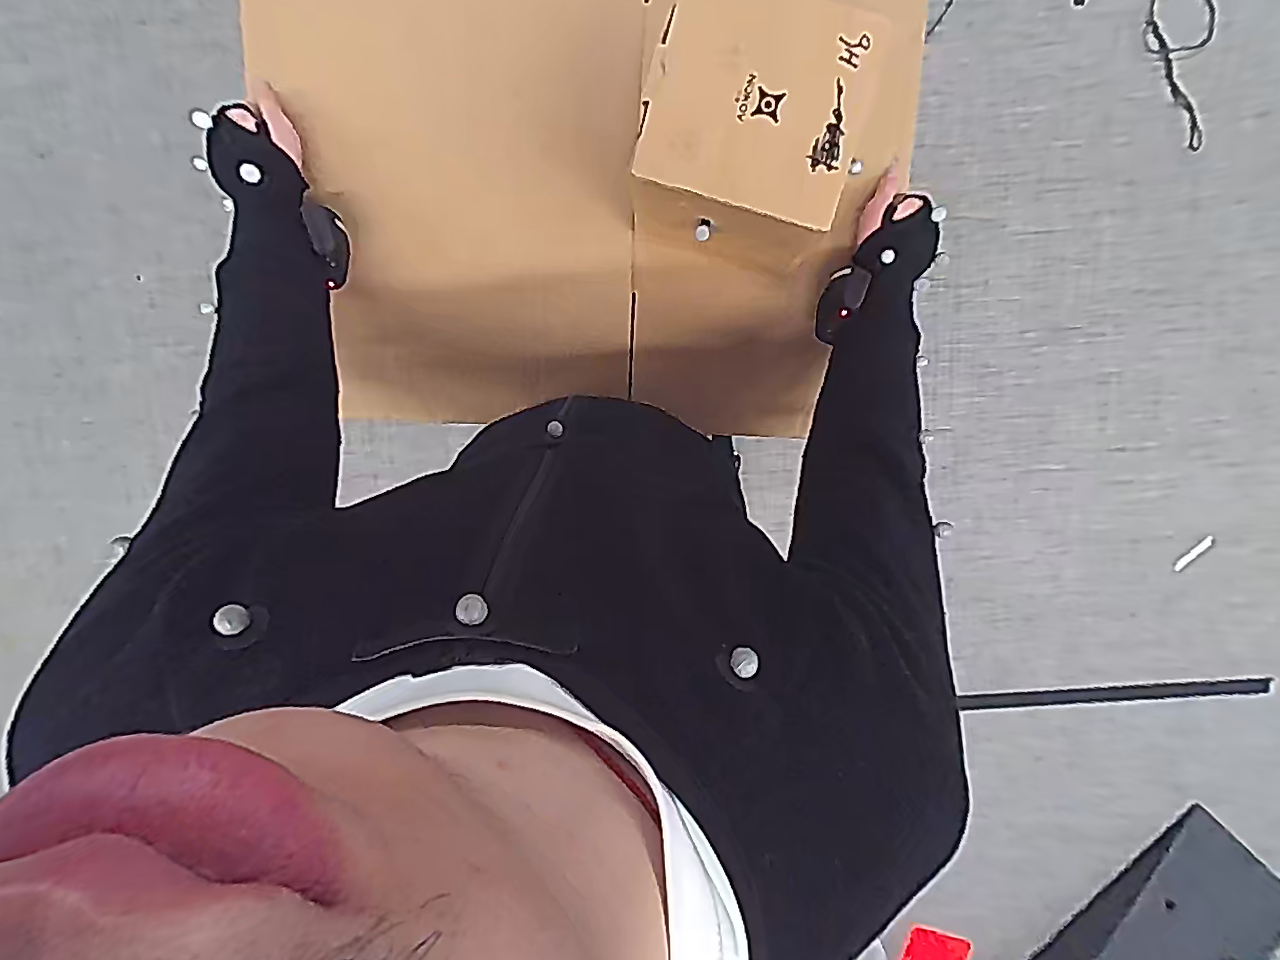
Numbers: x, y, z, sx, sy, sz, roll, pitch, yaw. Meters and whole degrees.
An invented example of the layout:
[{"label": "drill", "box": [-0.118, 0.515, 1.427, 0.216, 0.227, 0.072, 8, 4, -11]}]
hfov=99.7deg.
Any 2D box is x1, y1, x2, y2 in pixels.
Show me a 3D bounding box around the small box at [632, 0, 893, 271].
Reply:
[{"label": "small box", "box": [0.103, -0.322, 0.525, 0.179, 0.176, 0.168, 17, 98, 1]}]
